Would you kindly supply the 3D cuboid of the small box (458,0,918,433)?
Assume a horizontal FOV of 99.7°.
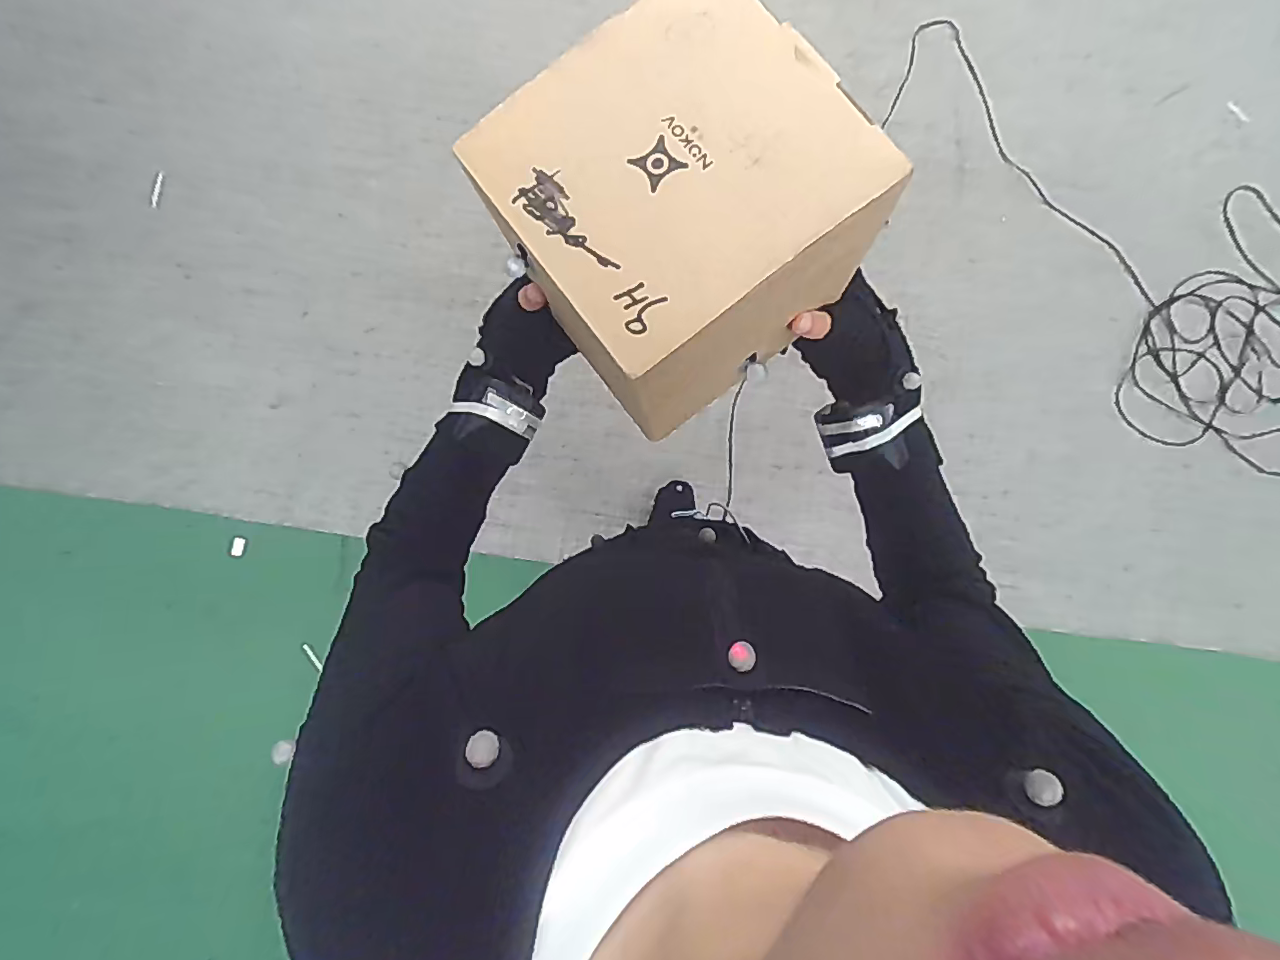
[{"bbox_3d":[0.025,-0.155,0.348,0.179,0.176,0.168,-37,81,0],"label":"small box"}]
